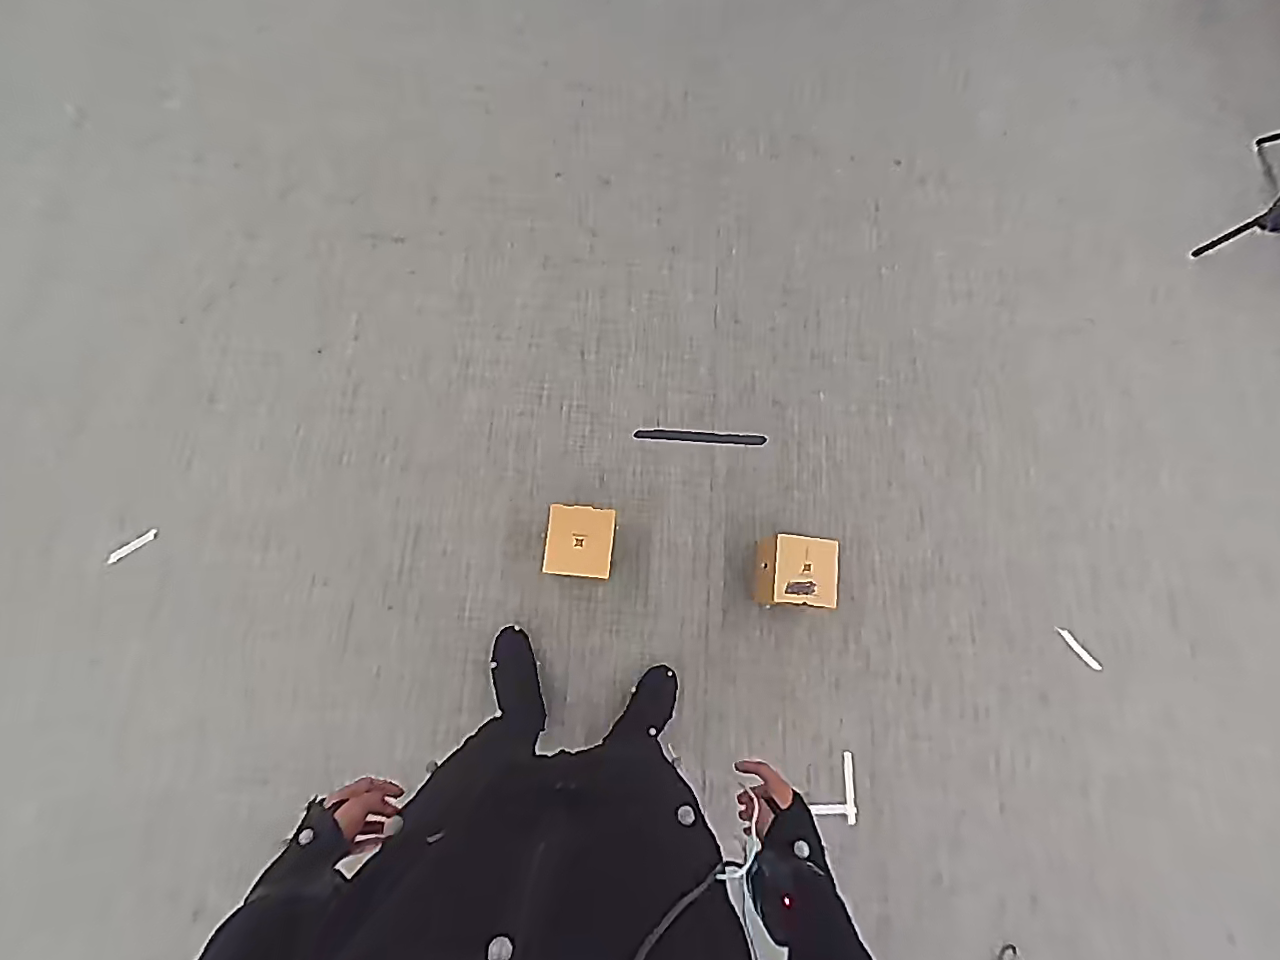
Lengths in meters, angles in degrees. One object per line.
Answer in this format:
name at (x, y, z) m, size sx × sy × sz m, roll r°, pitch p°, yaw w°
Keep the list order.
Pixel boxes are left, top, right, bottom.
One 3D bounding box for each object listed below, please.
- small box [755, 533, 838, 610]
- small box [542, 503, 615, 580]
small box at (0.412, 0.248, 1.445) m, size 0.168 × 0.176 × 0.179 m, roll 8°, pitch 77°, yaw -4°
small box at (-0.155, 0.168, 1.419) m, size 0.168 × 0.176 × 0.179 m, roll 6°, pitch 77°, yaw -3°
